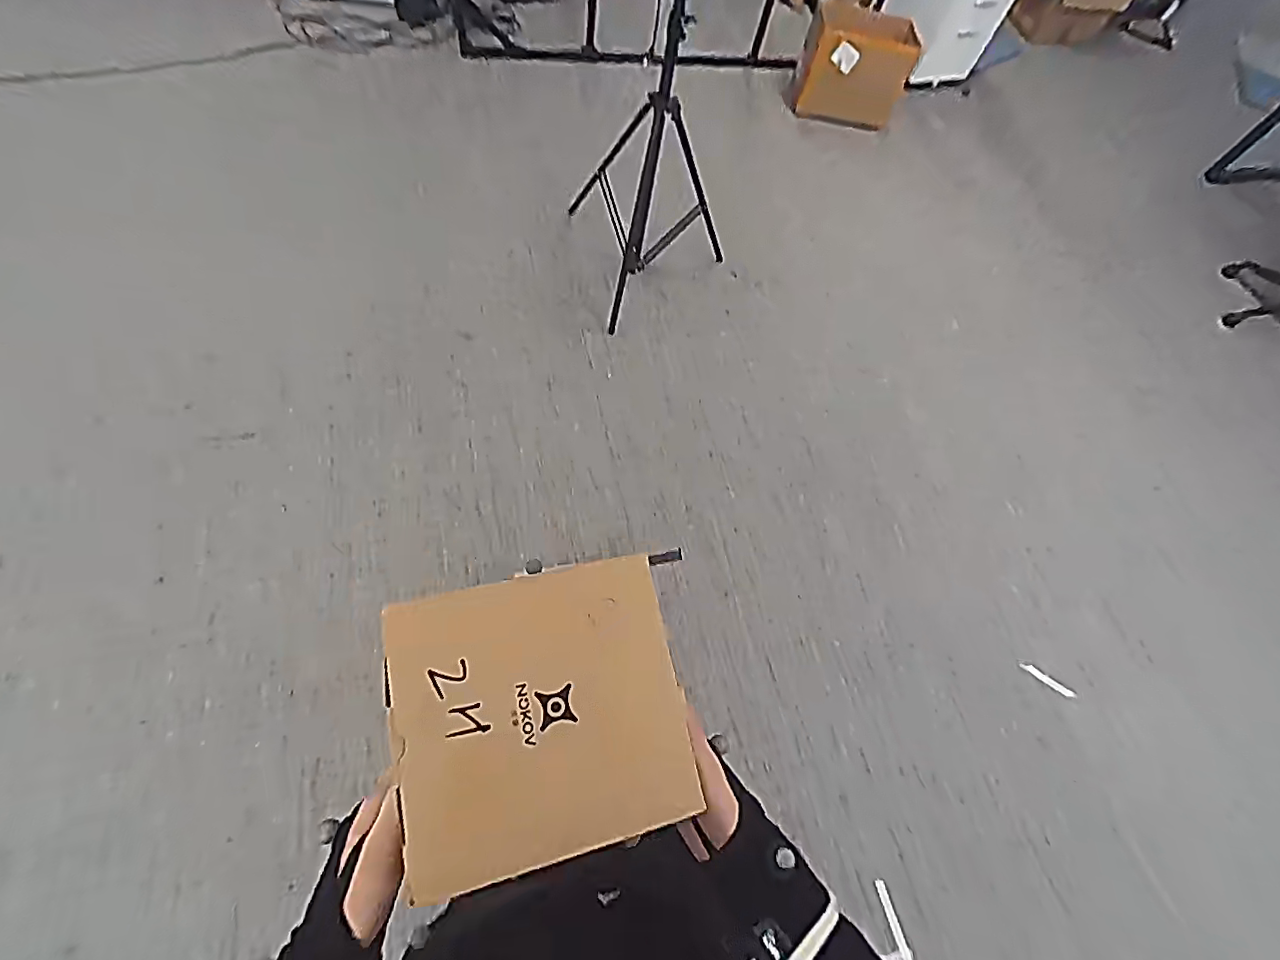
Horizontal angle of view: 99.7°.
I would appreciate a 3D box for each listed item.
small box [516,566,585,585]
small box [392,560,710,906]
[{"bbox_3d":[-0.209,0.327,1.329,0.168,0.176,0.179,-6,66,-12],"label":"small box"},{"bbox_3d":[-0.071,0.167,0.410,0.179,0.176,0.168,-10,74,-14],"label":"small box"}]
